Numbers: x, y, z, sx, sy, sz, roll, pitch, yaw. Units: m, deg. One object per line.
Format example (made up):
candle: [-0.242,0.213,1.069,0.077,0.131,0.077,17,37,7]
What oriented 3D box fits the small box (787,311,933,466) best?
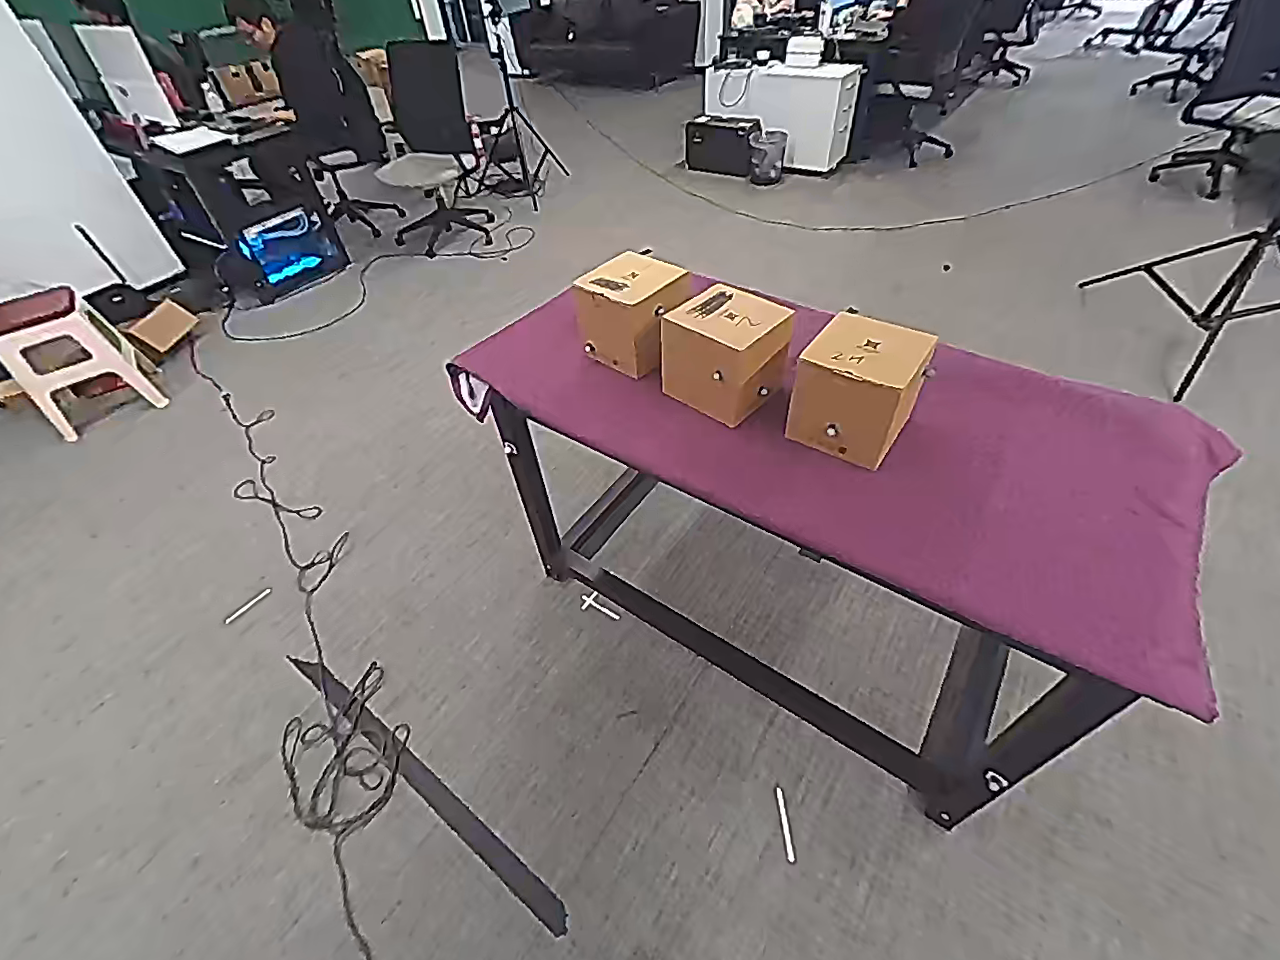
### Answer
small box: [0.365,-0.157,0.923,0.168,0.176,0.179,26,53,27]

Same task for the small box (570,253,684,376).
small box: [-0.018,-0.346,1.137,0.168,0.176,0.179,31,56,29]
